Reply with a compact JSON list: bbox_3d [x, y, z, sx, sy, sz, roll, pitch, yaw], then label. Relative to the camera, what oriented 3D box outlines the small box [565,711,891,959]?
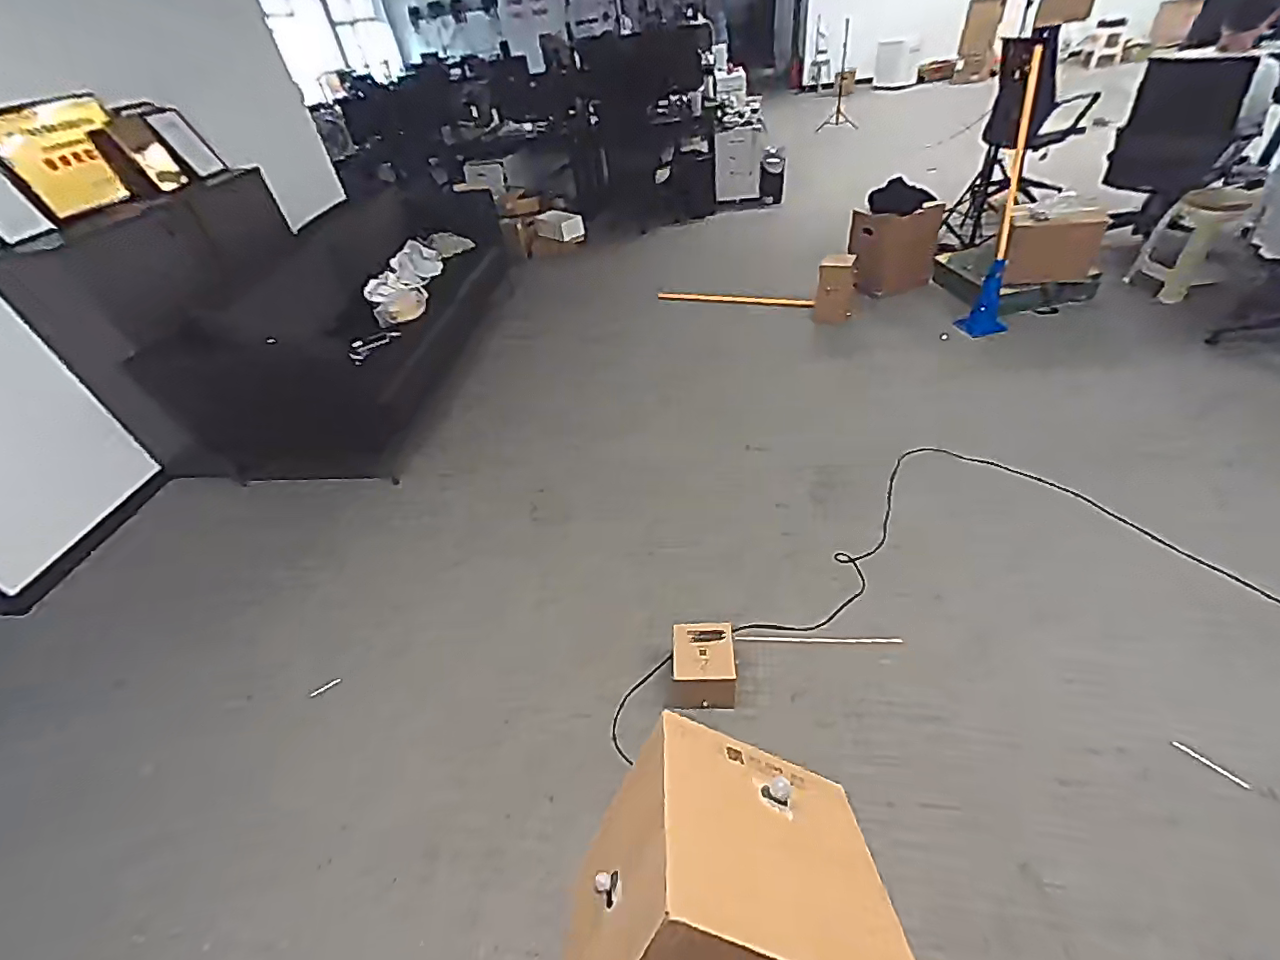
[{"bbox_3d":[0.053,0.314,0.394,0.168,0.179,0.176,25,13,-4],"label":"small box"}]
